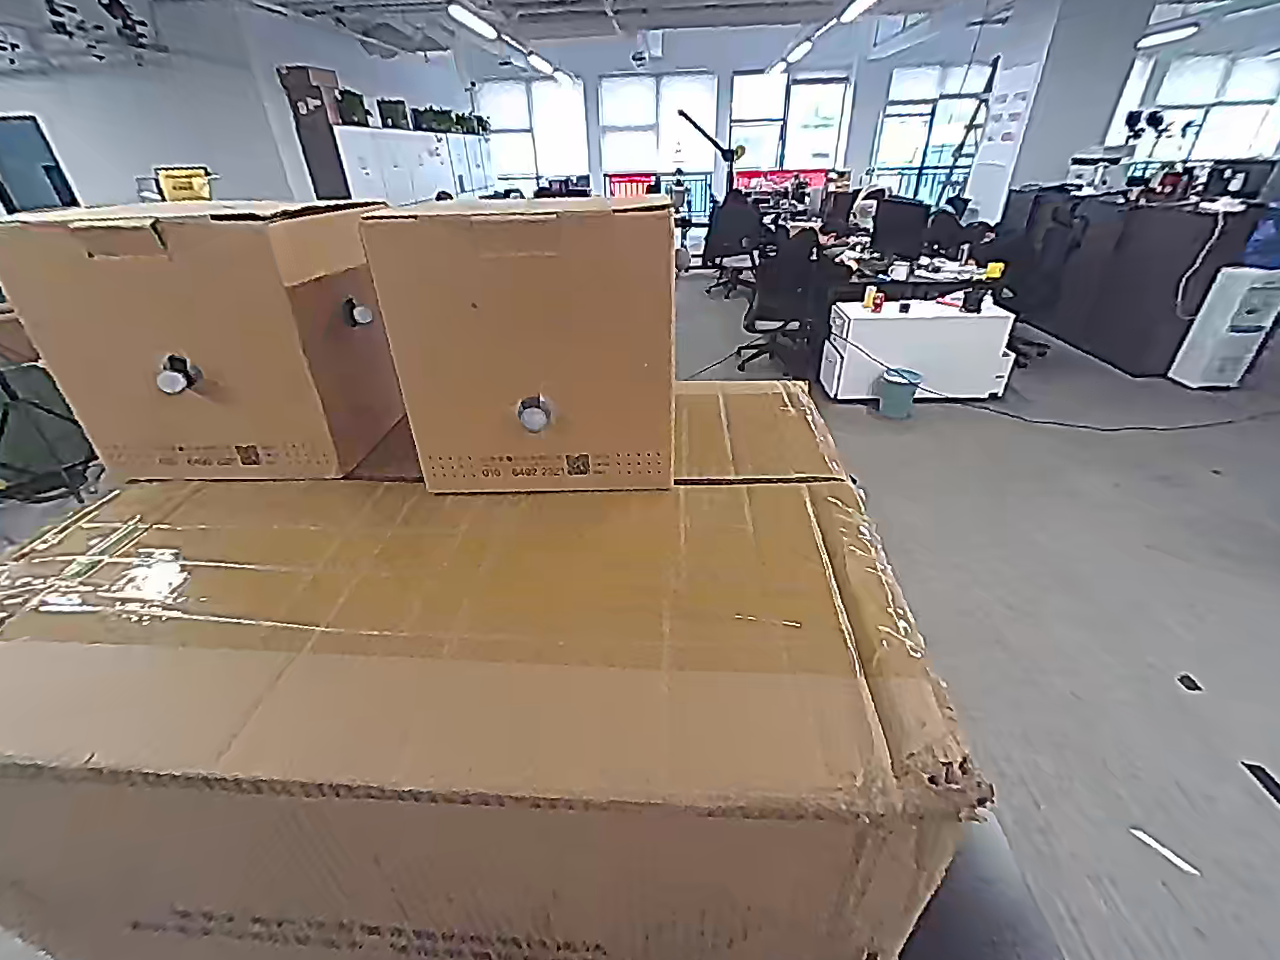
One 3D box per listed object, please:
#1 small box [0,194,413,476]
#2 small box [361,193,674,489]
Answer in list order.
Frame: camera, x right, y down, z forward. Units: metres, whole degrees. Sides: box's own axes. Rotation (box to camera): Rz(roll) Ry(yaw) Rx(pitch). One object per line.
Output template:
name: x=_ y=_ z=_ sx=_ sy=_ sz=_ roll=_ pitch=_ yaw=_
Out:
small box: x=-0.287 y=-0.112 z=0.406 sx=0.168 sy=0.176 sz=0.179 roll=-1 pitch=31 yaw=0
small box: x=-0.061 y=-0.107 z=0.387 sx=0.168 sy=0.176 sz=0.179 roll=-1 pitch=30 yaw=2
